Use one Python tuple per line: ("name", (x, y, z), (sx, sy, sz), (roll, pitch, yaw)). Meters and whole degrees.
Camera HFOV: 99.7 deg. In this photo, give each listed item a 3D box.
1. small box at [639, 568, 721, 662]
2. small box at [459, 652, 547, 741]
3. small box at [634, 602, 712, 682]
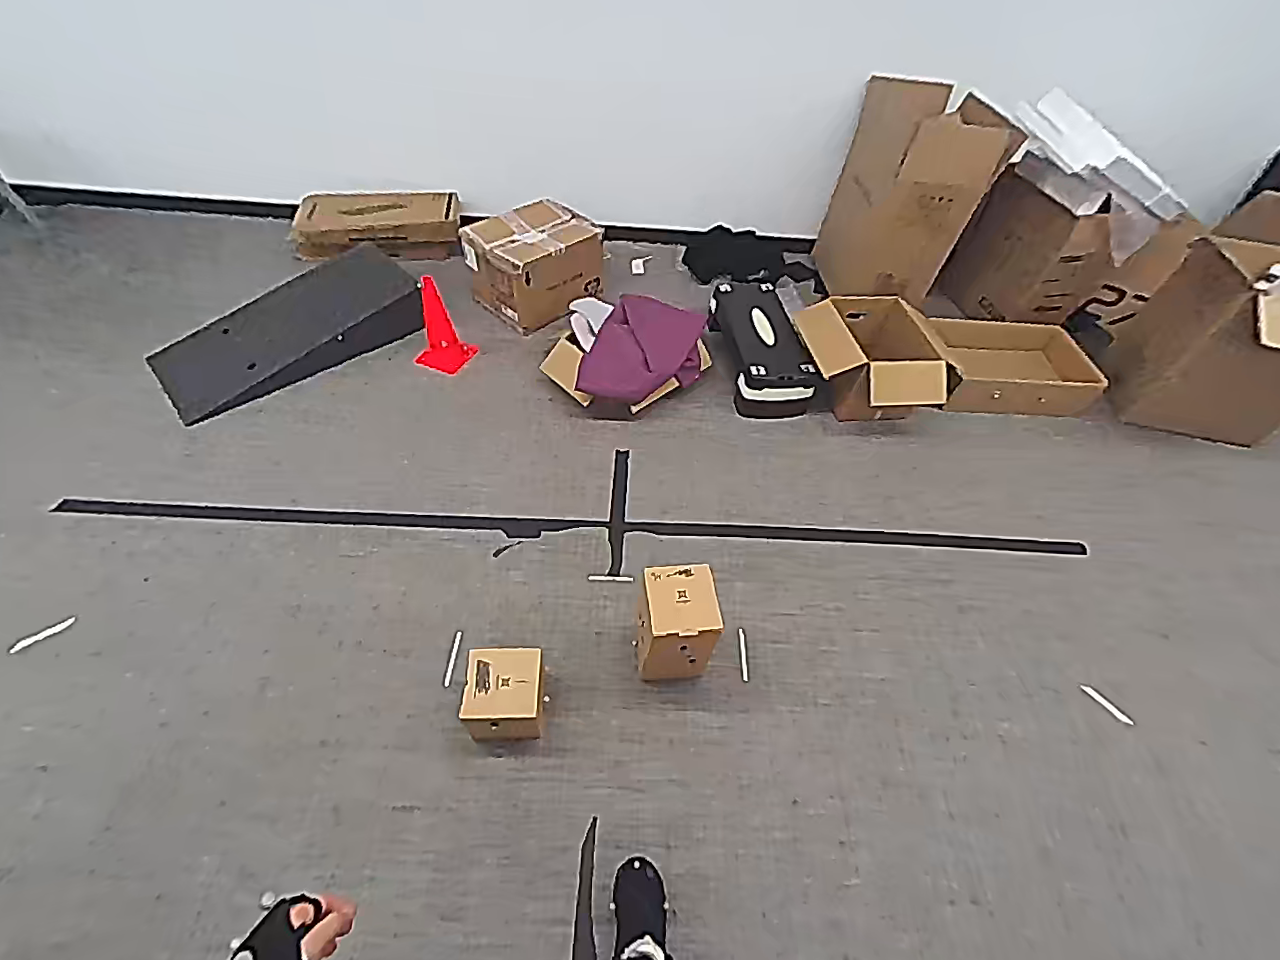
("small box", (0.091, 0.336, 1.325), (0.168, 0.176, 0.179), (-3, 51, -7))
("small box", (-0.330, 0.537, 1.335), (0.179, 0.176, 0.168), (1, 51, -4))
("small box", (0.082, 0.434, 1.457), (0.179, 0.176, 0.168), (-2, 50, -6))
